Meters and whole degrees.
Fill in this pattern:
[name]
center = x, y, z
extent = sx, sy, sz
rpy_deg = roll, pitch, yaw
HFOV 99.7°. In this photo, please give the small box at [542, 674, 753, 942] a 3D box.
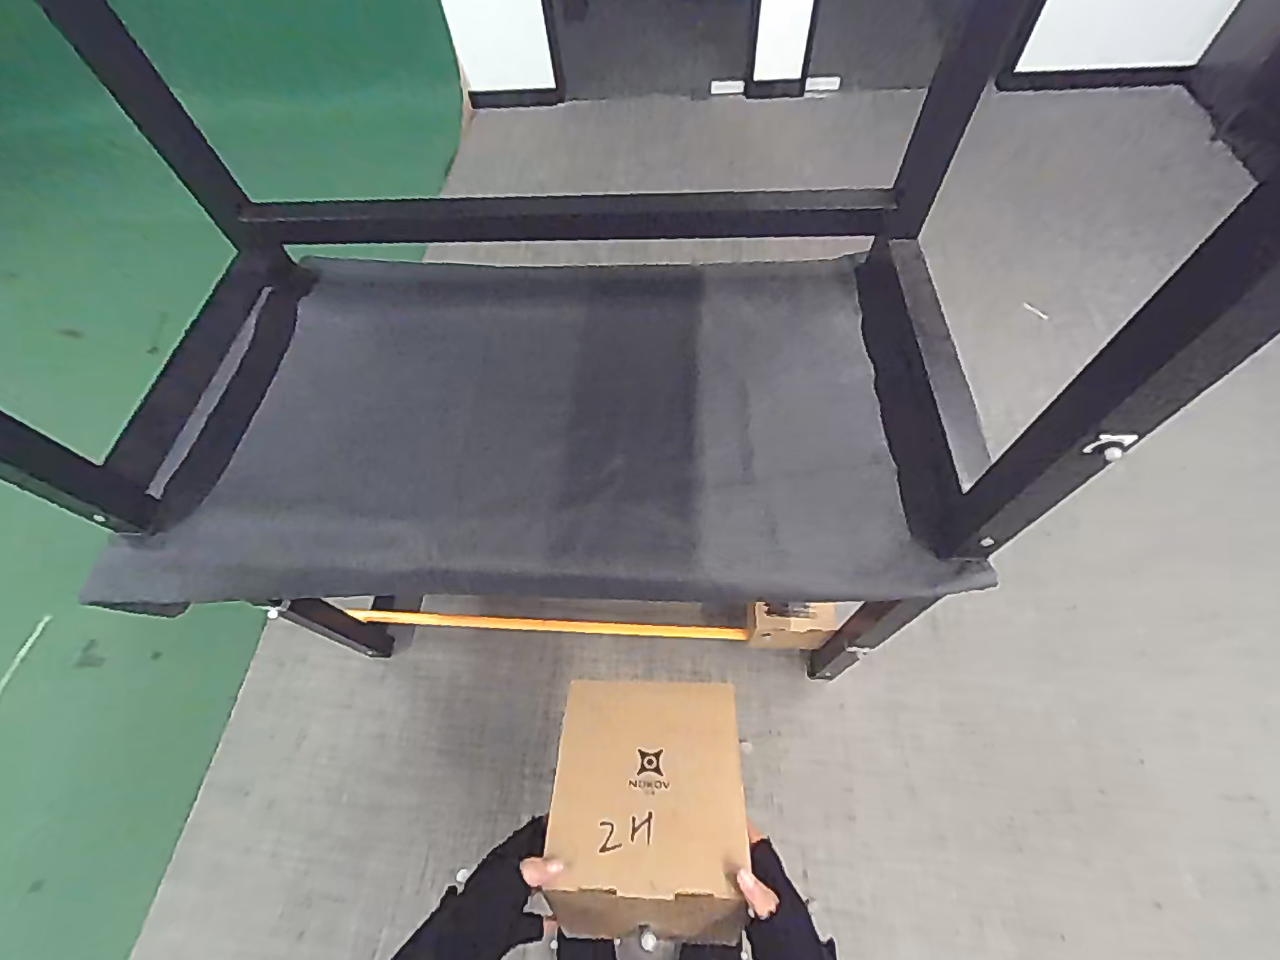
[small box]
center = 0.012, 0.314, 0.526
extent = 0.168, 0.176, 0.179
rpy_deg = -1, 40, 4
